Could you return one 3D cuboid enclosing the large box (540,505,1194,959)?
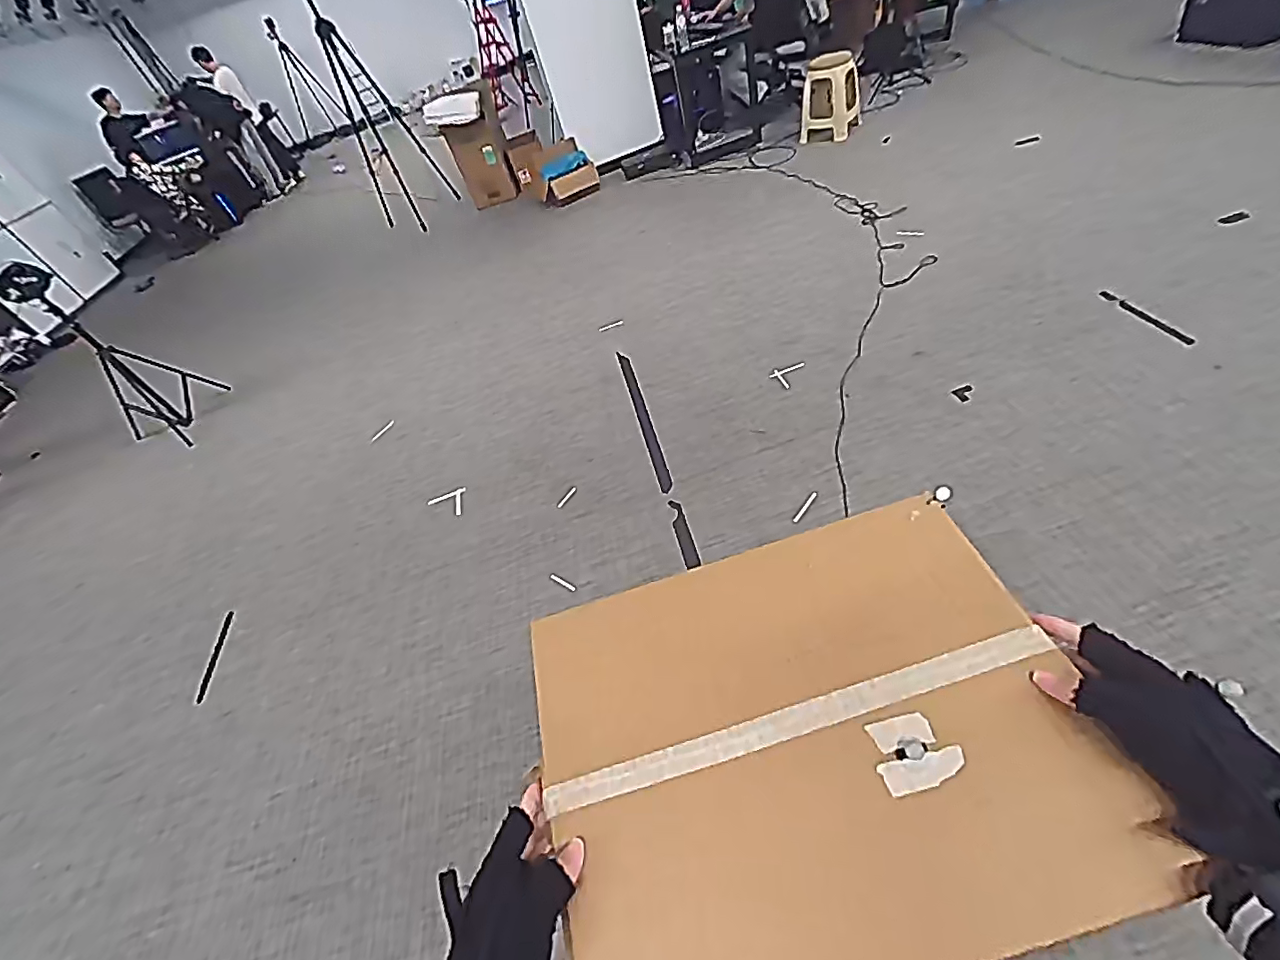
[{"bbox_3d":[0.154,0.290,0.543,0.408,0.320,0.320,-19,49,0],"label":"large box"}]
